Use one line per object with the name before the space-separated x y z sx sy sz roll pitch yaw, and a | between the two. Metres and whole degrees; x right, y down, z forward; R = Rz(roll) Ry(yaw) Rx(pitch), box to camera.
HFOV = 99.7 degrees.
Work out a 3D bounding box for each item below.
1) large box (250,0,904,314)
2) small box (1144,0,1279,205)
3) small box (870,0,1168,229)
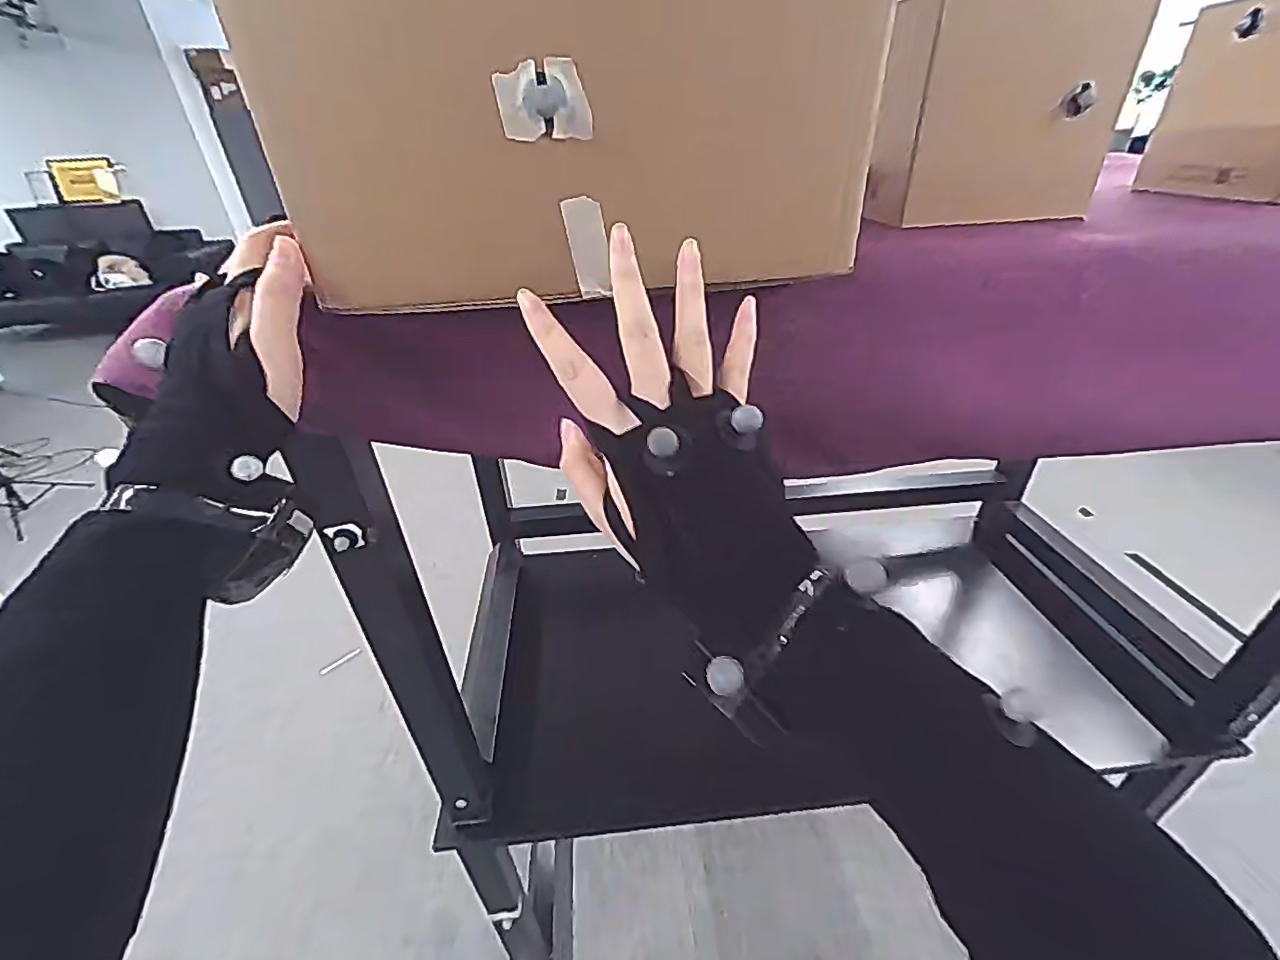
large box | -0.050 -0.334 0.396 0.320 0.320 0.408 -6 32 -6
small box | 0.659 -0.368 0.518 0.179 0.176 0.168 -3 32 -2
small box | 0.305 -0.339 0.502 0.179 0.176 0.168 -5 32 -3
